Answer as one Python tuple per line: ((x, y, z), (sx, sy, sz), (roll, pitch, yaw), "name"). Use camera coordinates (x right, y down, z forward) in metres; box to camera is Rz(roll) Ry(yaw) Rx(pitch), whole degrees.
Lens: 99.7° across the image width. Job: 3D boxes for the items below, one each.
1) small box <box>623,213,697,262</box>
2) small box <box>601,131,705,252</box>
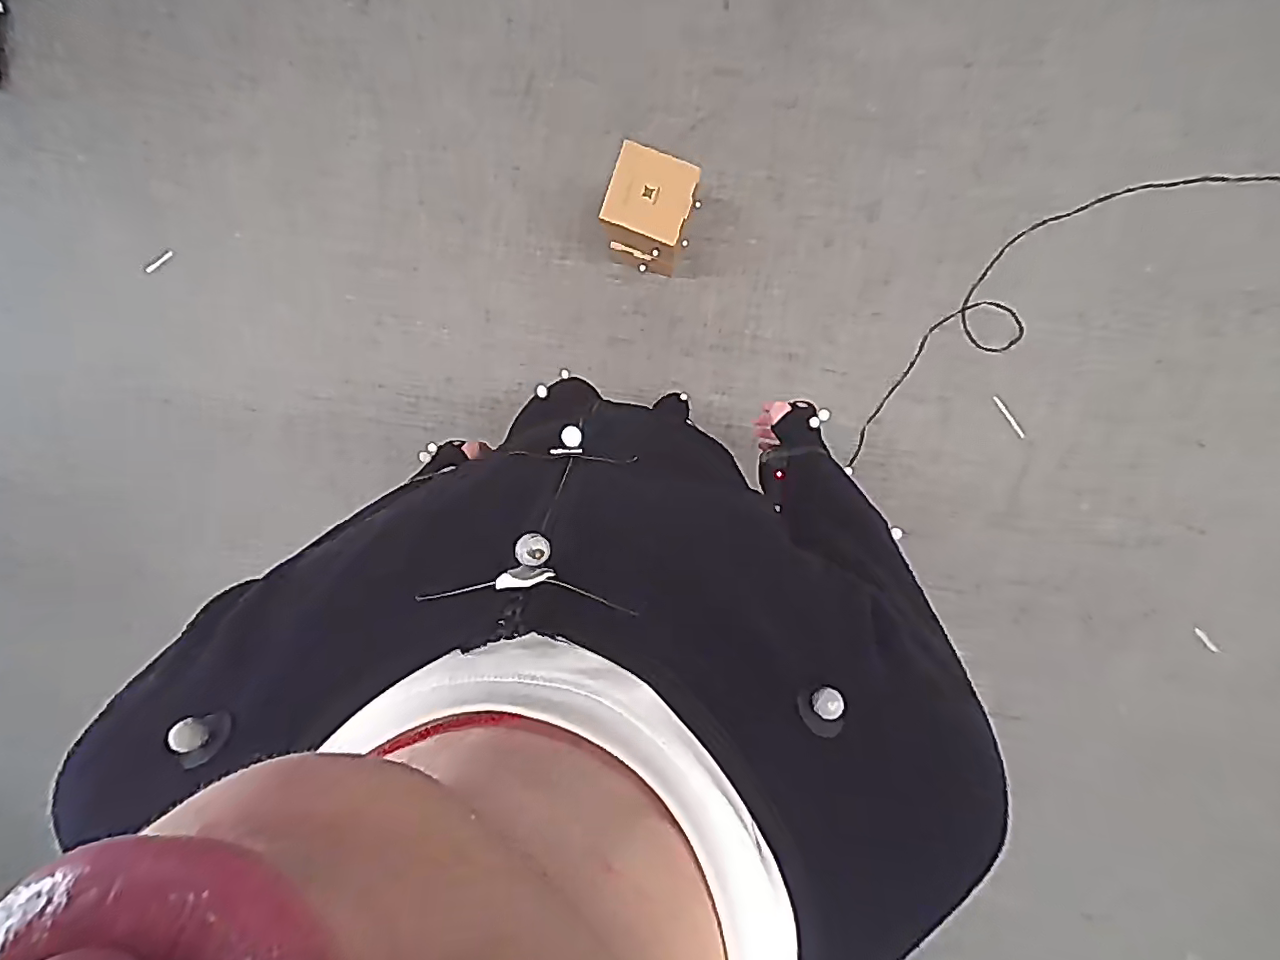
((0.042, -0.666, 1.361), (0.179, 0.176, 0.168), (-13, 98, 8), "small box")
((0.032, -0.632, 1.210), (0.179, 0.176, 0.168), (22, 99, 1), "small box")
